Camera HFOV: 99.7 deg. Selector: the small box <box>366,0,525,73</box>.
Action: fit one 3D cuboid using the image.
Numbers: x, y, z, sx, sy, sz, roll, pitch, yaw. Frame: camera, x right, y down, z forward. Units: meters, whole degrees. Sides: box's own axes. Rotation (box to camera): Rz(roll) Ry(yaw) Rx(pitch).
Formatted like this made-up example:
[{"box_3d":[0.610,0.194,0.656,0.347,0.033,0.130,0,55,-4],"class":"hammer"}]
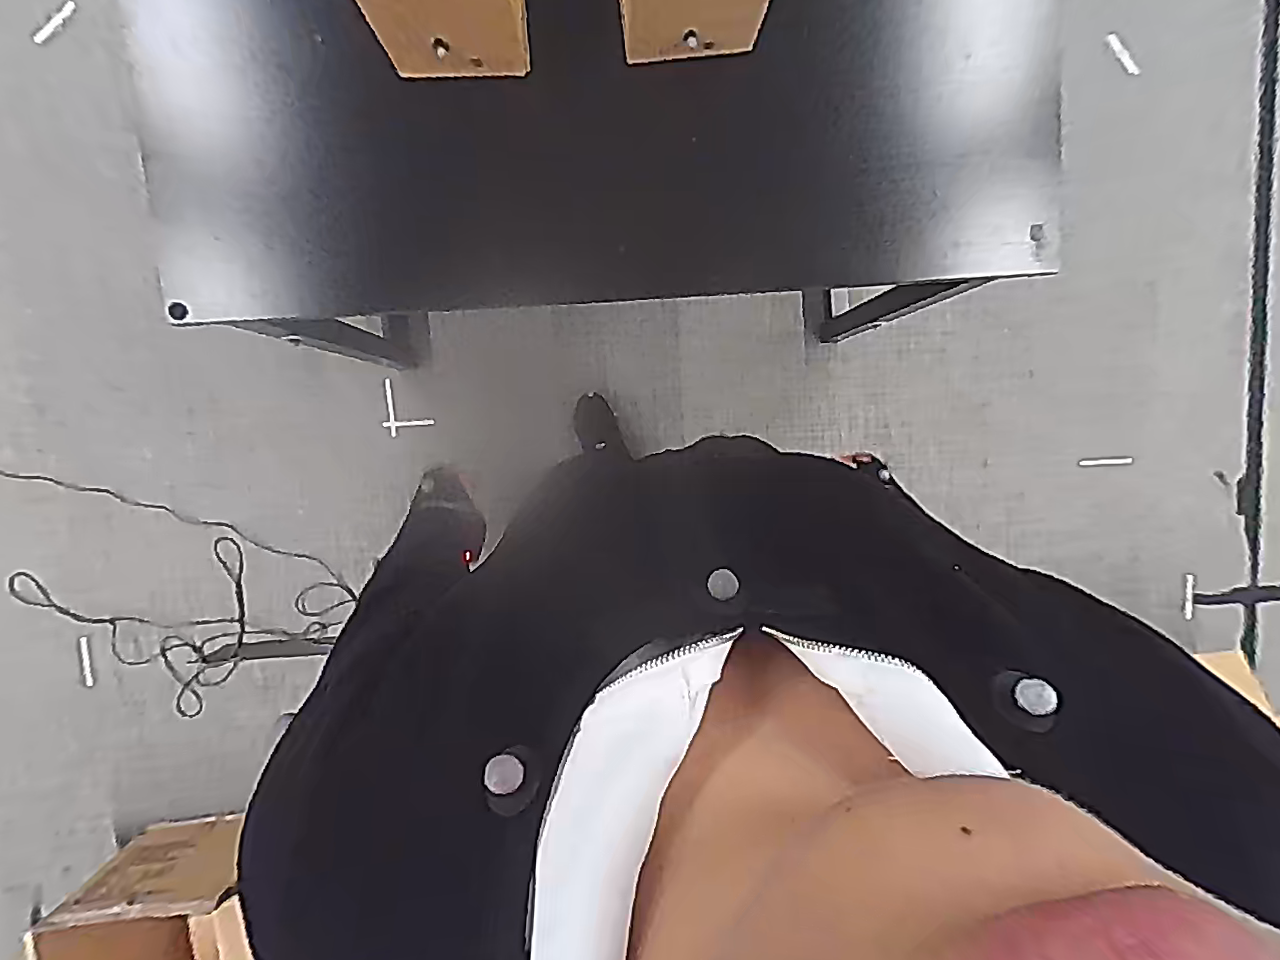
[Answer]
[{"box_3d":[-0.227,-0.604,0.605,0.168,0.176,0.179,-3,96,-2],"class":"small box"}]
